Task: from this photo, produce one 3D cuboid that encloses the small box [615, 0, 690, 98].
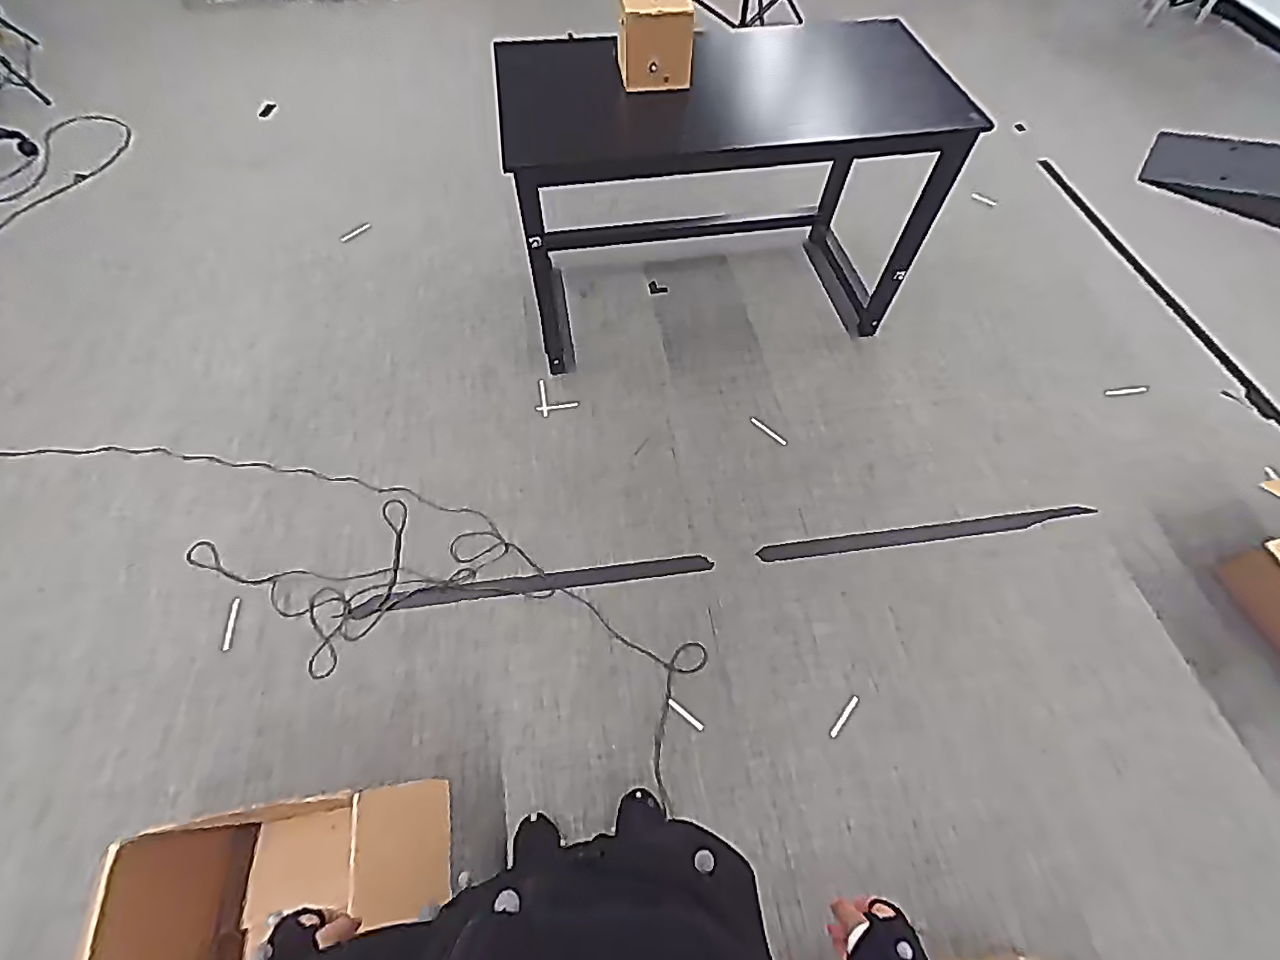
[{"bbox_3d":[0.026,-1.118,1.389,0.168,0.176,0.179,-7,61,-5],"label":"small box"}]
